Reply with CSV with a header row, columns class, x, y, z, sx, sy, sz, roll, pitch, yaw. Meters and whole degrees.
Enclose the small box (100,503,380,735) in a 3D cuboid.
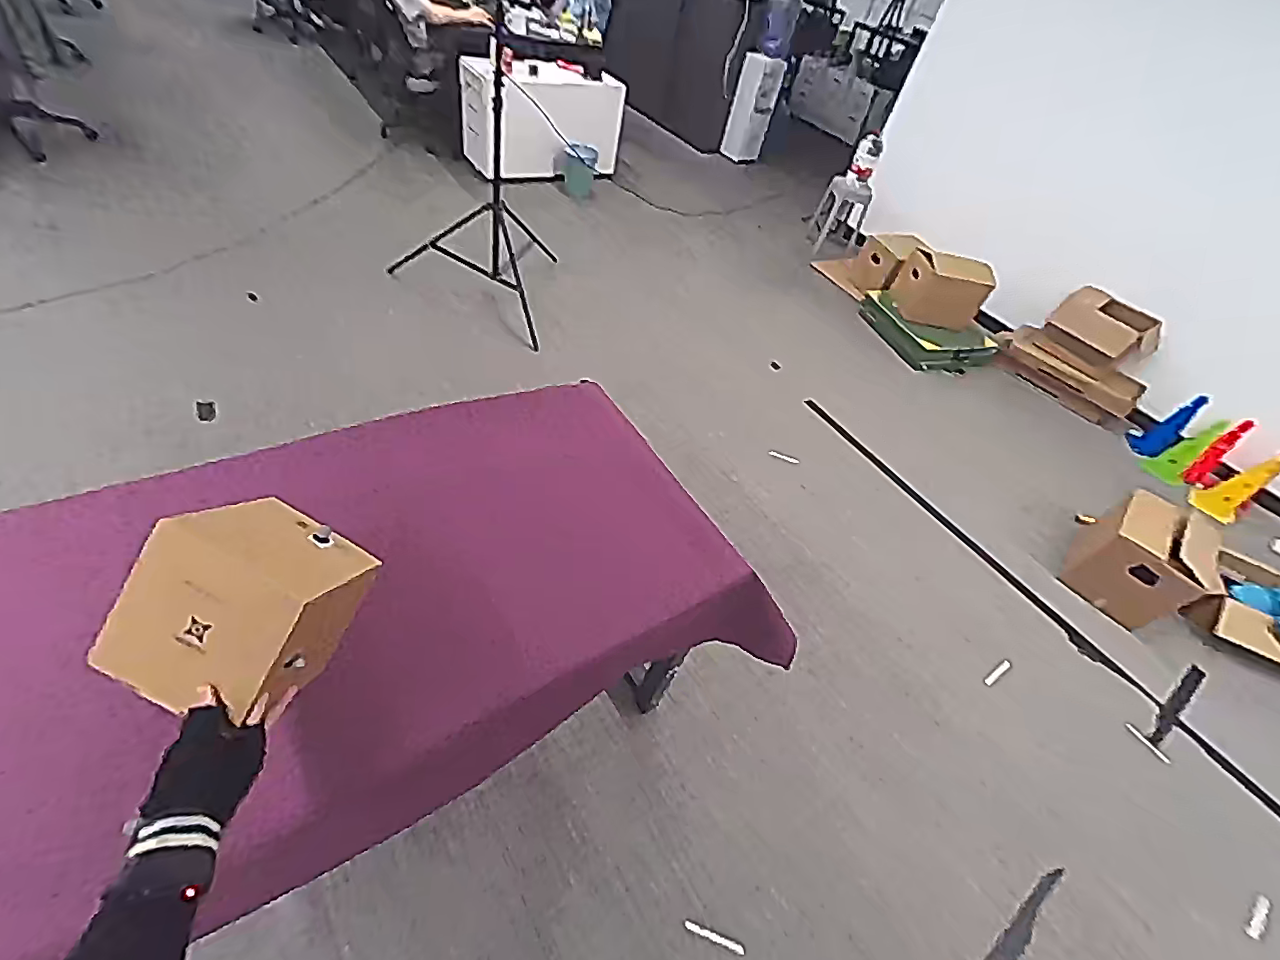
class,x,y,z,sx,sy,sz,roll,pitch,yaw
small box,-0.442,0.146,0.631,0.168,0.179,0.176,31,4,-3
